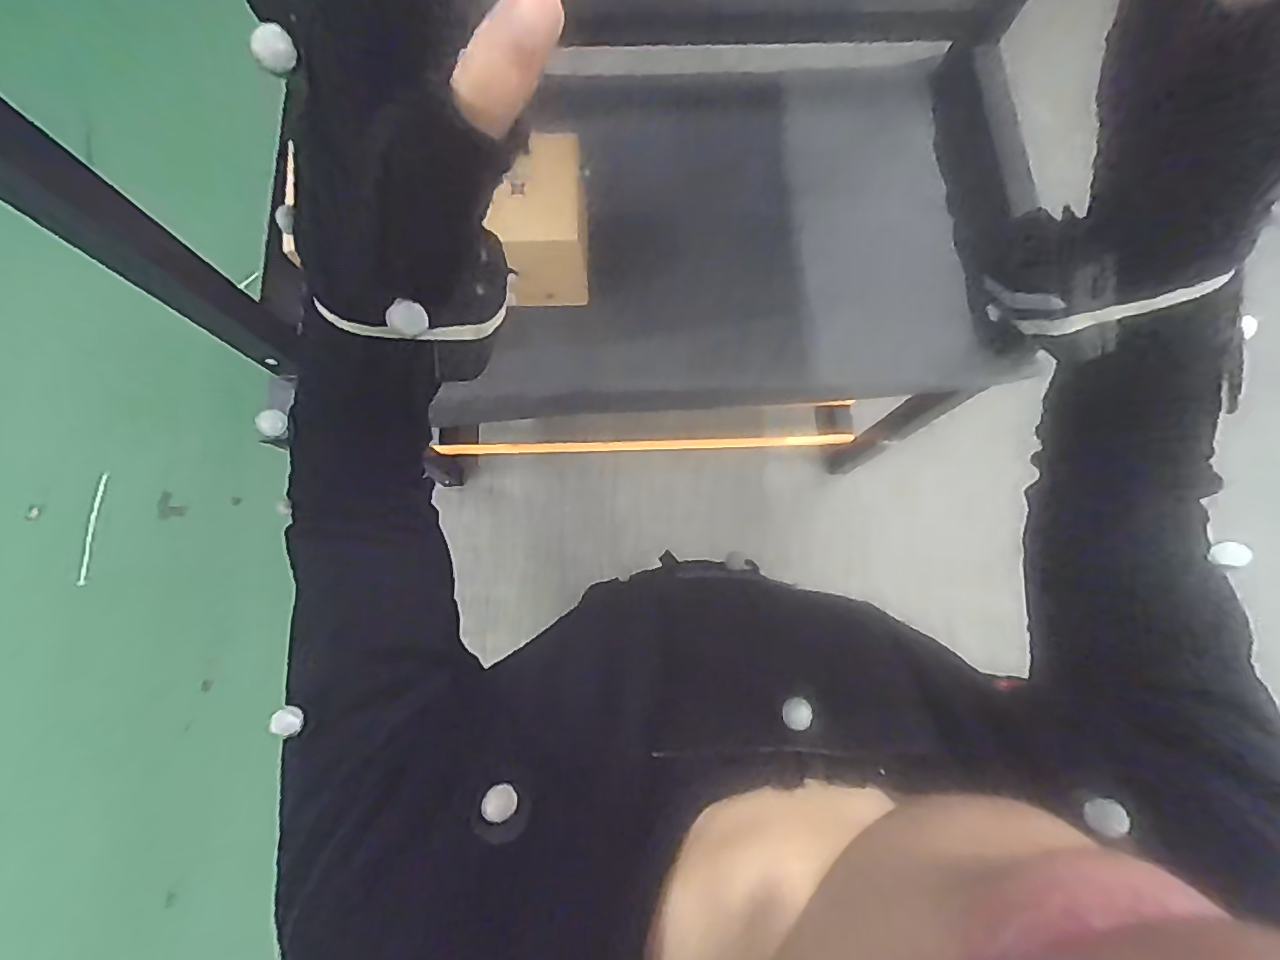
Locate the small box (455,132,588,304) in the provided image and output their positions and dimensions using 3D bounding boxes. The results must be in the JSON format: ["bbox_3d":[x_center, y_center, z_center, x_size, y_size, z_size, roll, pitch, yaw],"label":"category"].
[{"bbox_3d":[-0.167,-0.381,0.812,0.168,0.176,0.179,-2,76,-1],"label":"small box"}]
